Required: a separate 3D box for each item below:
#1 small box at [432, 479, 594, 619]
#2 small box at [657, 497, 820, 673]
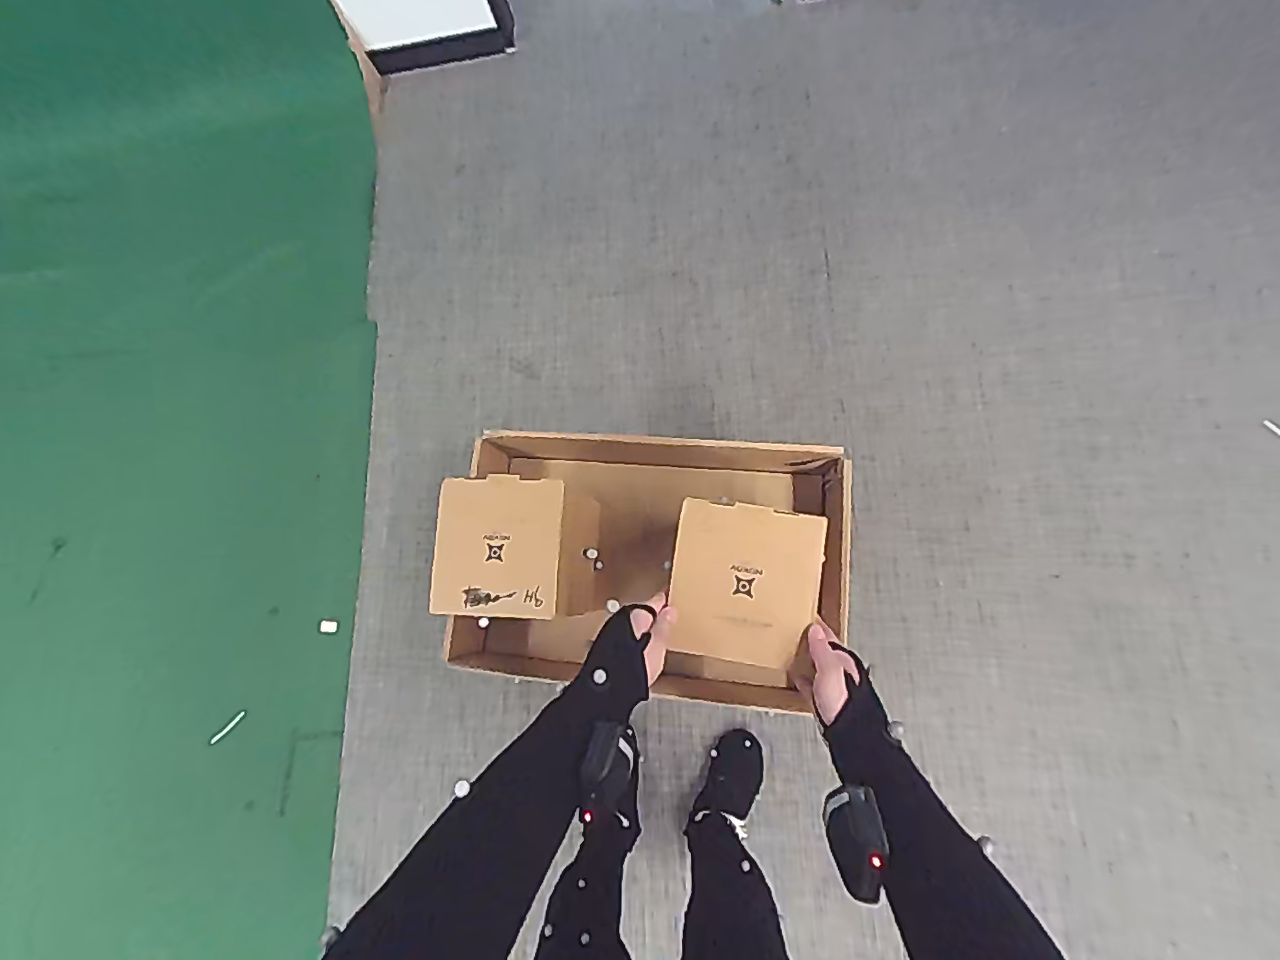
[{"bbox_3d":[-0.167,0.100,0.765,0.168,0.176,0.179,0,79,11],"label":"small box"},{"bbox_3d":[0.122,0.126,0.691,0.168,0.176,0.179,8,84,10],"label":"small box"}]
